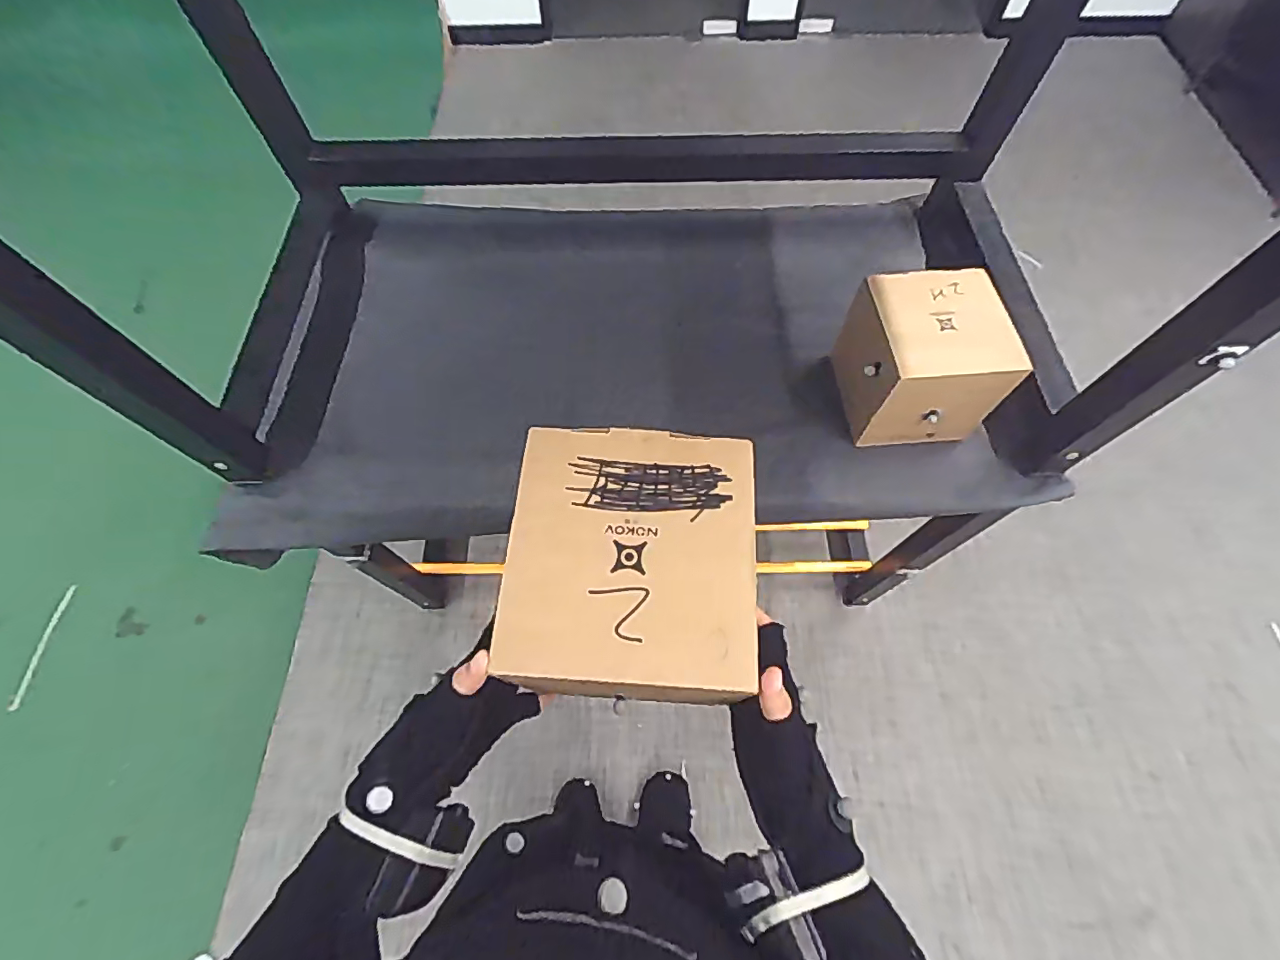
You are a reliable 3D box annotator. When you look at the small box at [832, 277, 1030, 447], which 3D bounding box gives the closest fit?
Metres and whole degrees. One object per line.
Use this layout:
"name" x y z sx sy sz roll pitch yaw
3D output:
"small box" 0.393 -0.158 0.768 0.168 0.176 0.179 -4 62 -1
